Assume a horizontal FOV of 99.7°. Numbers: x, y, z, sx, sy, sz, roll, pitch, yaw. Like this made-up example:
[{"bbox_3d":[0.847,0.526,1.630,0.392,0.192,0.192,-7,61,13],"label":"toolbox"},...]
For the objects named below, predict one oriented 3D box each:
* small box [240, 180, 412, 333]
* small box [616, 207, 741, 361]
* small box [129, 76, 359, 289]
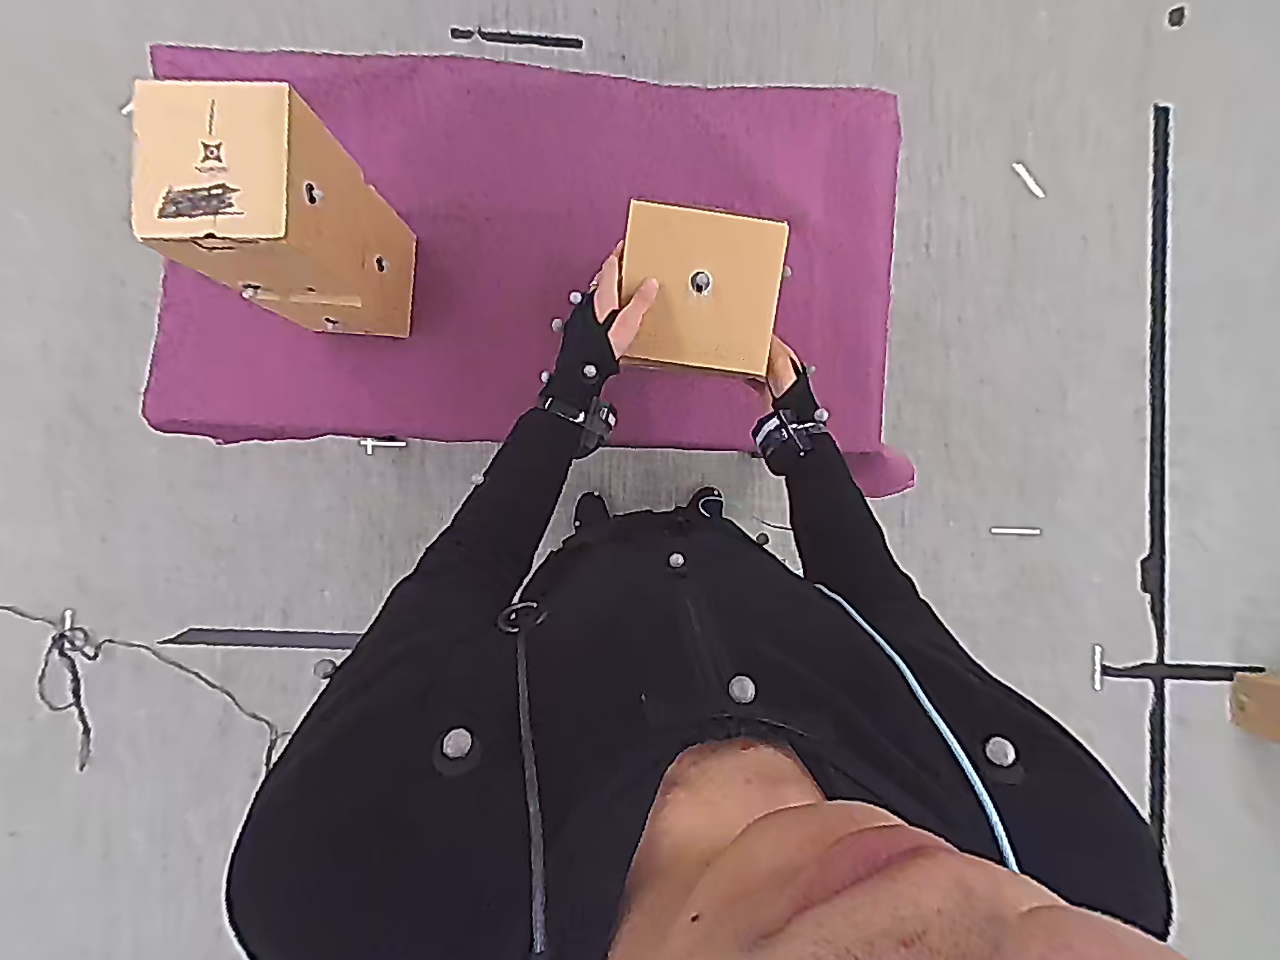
[{"bbox_3d":[-0.464,-0.333,0.823,0.168,0.176,0.179,5,90,-2],"label":"small box"},{"bbox_3d":[0.054,-0.291,0.839,0.168,0.176,0.179,4,89,-1],"label":"small box"},{"bbox_3d":[-0.463,-0.344,0.658,0.168,0.176,0.179,0,89,-2],"label":"small box"}]
